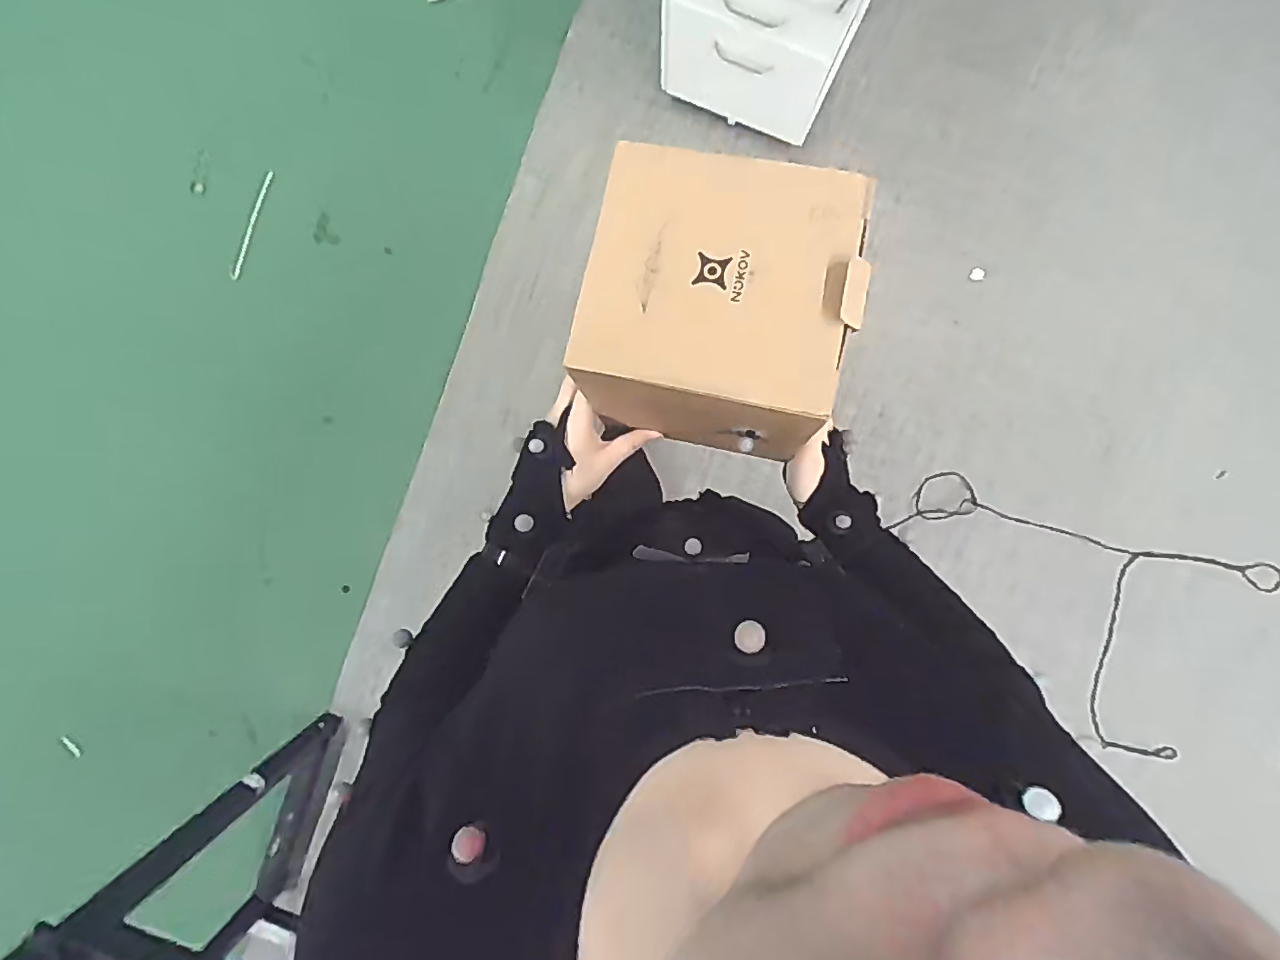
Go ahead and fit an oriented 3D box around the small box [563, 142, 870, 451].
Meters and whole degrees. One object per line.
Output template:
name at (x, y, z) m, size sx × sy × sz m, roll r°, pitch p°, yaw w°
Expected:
small box at (0.058, -0.127, 0.435) m, size 0.179 × 0.176 × 0.168 m, roll 12°, pitch 83°, yaw 8°
